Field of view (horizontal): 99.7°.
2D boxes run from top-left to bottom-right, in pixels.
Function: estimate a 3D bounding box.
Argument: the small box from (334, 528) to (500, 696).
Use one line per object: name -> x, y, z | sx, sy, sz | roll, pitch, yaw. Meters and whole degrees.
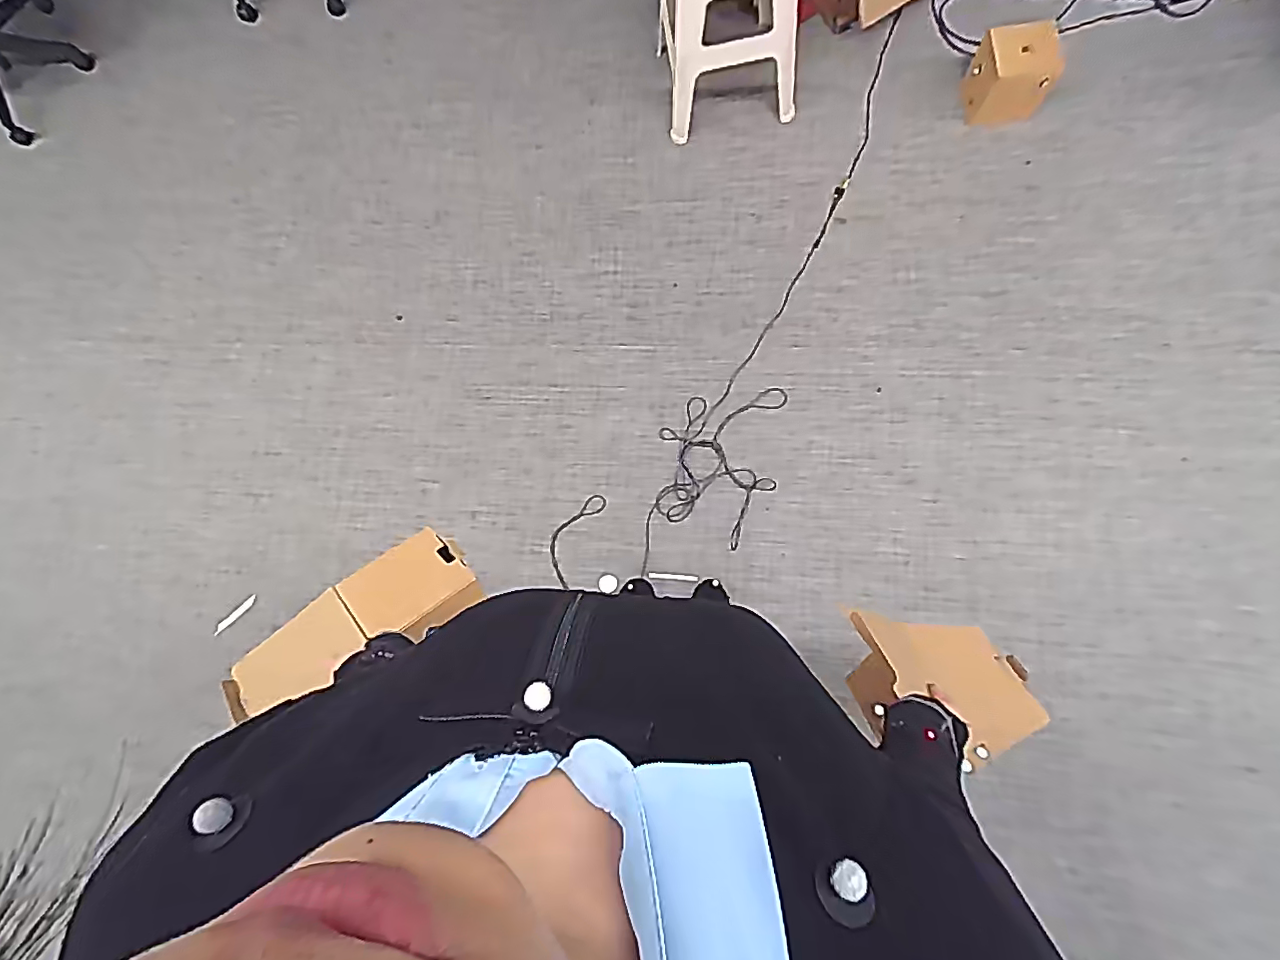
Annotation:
small box -> -0.364, 0.221, 0.906 | 0.179, 0.176, 0.168 | -35, 49, -28
